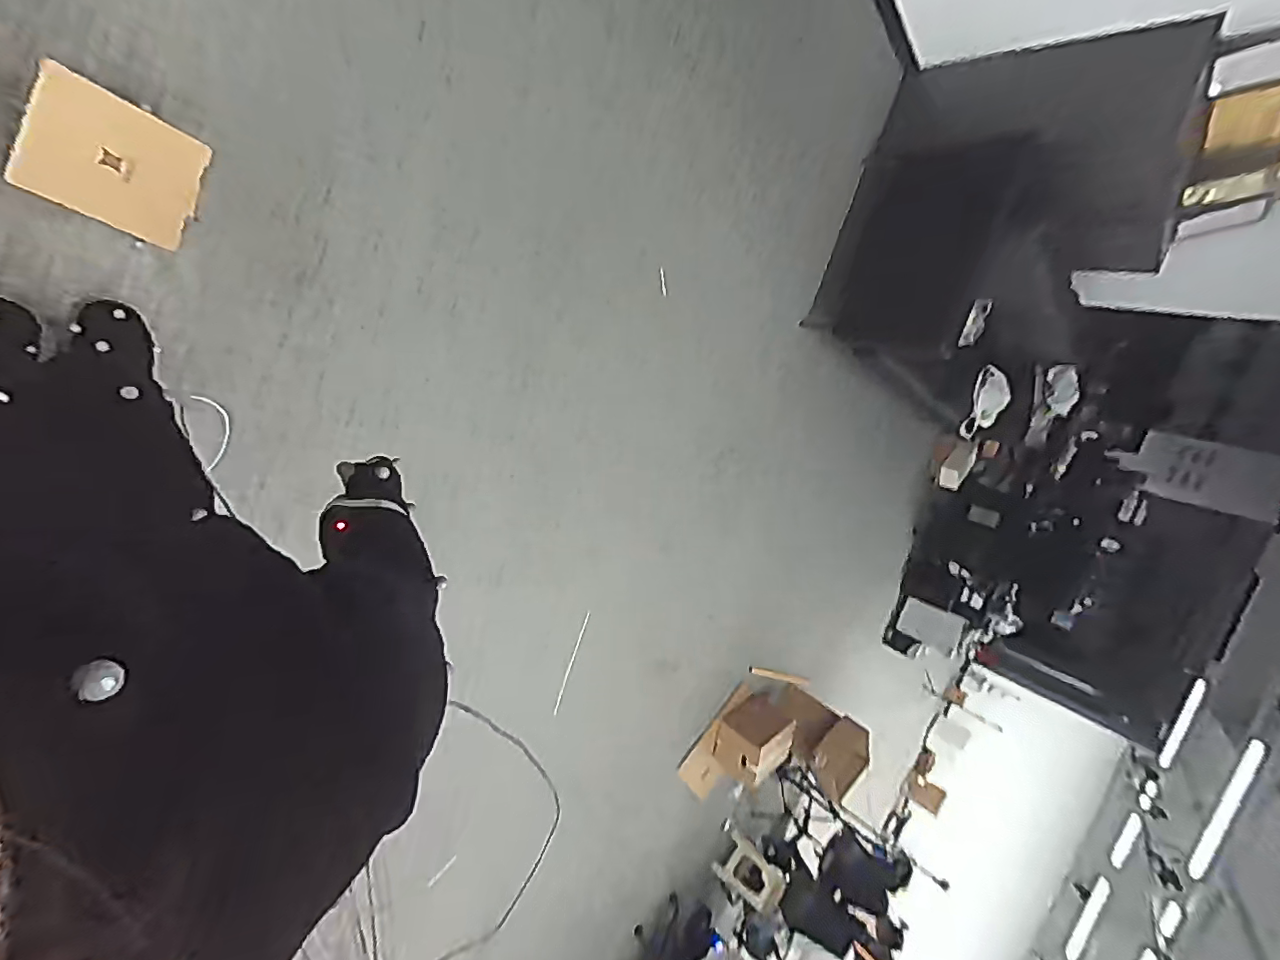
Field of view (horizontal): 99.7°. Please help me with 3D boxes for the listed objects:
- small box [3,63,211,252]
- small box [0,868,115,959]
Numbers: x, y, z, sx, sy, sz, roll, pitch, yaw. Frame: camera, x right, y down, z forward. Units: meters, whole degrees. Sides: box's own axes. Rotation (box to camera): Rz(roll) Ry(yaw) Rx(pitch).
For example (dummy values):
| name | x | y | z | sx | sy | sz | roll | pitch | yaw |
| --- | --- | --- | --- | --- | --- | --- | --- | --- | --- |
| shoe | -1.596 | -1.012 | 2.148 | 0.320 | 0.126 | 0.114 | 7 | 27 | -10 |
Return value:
| name | x | y | z | sx | sy | sz | roll | pitch | yaw |
| --- | --- | --- | --- | --- | --- | --- | --- | --- | --- |
| small box | -0.781 | -0.457 | 0.800 | 0.179 | 0.176 | 0.168 | 19 | 94 | -49 |
| small box | -1.306 | 1.011 | 1.201 | 0.168 | 0.176 | 0.179 | 13 | 98 | -49 |
